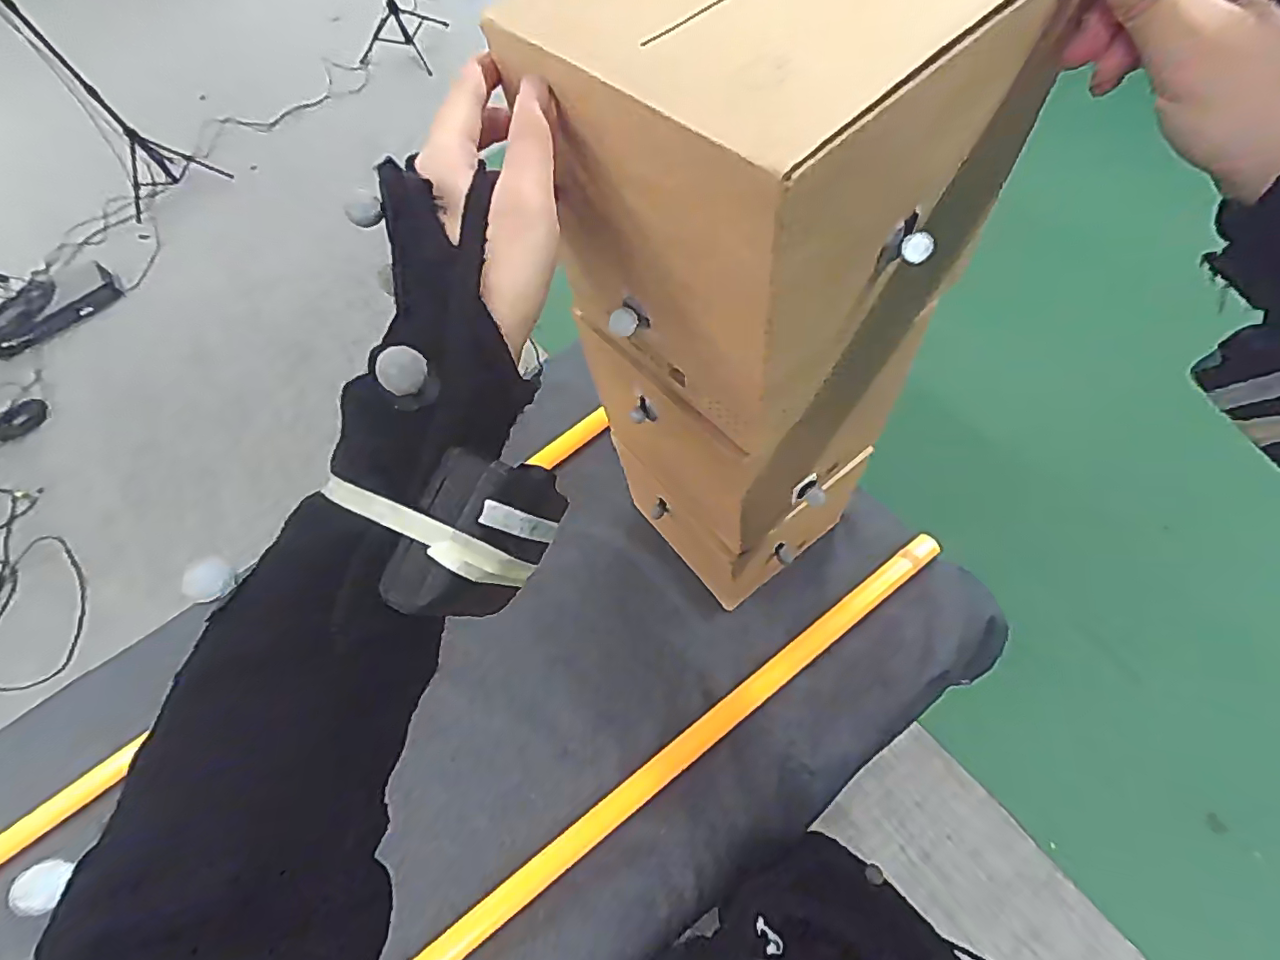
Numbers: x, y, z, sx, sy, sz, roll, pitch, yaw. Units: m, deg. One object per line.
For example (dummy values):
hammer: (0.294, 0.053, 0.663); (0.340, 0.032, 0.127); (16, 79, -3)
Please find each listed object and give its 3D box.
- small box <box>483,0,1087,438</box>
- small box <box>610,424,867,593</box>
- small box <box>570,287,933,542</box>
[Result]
small box: (0.061, -0.157, 0.272); (0.179, 0.176, 0.168); (-40, 64, -11)
small box: (0.097, -0.002, 0.562); (0.168, 0.176, 0.179); (-37, 63, -10)
small box: (0.076, -0.081, 0.421); (0.168, 0.176, 0.179); (-39, 64, -10)
